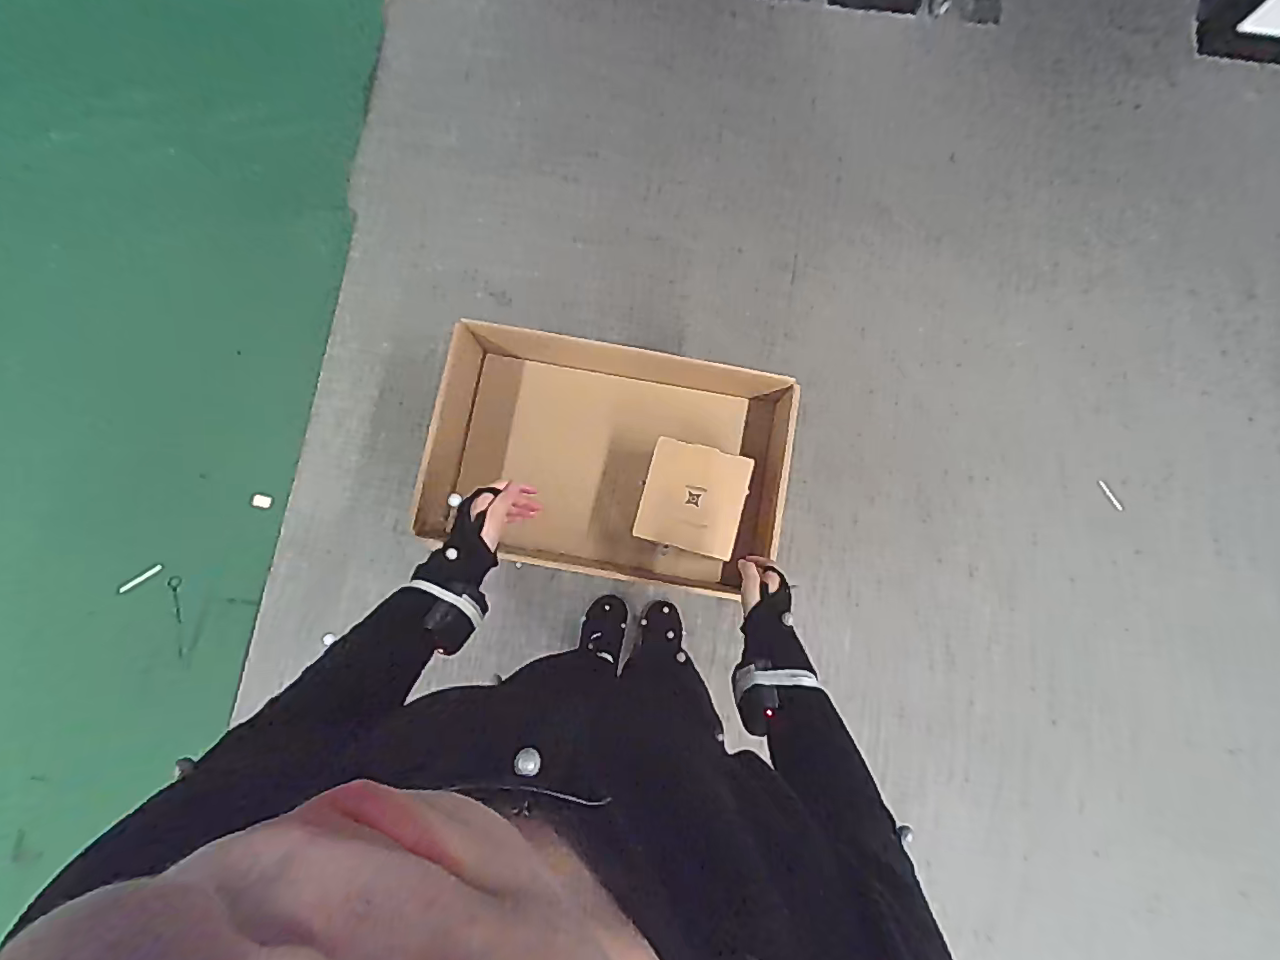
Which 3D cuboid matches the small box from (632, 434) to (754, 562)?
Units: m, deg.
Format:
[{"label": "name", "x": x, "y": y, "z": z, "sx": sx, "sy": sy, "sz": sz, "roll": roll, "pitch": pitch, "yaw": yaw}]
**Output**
[{"label": "small box", "x": 0.087, "y": 0.039, "z": 0.958, "sx": 0.168, "sy": 0.176, "sz": 0.179, "roll": 16, "pitch": 82, "yaw": 3}]
